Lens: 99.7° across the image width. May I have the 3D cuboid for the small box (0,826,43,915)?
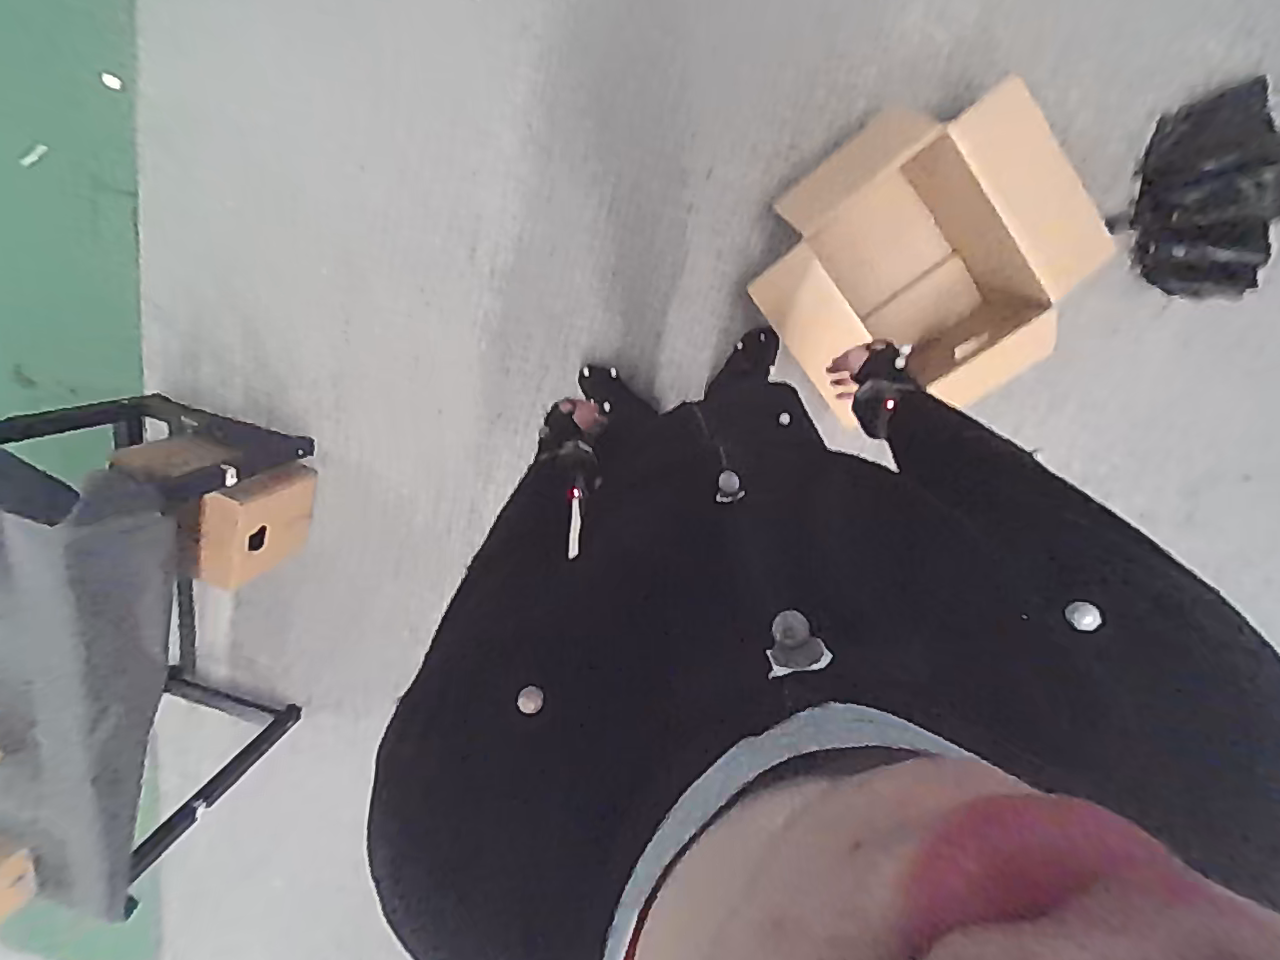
[{"bbox_3d":[-1.688,1.009,1.367,0.168,0.176,0.179,13,108,5],"label":"small box"}]
